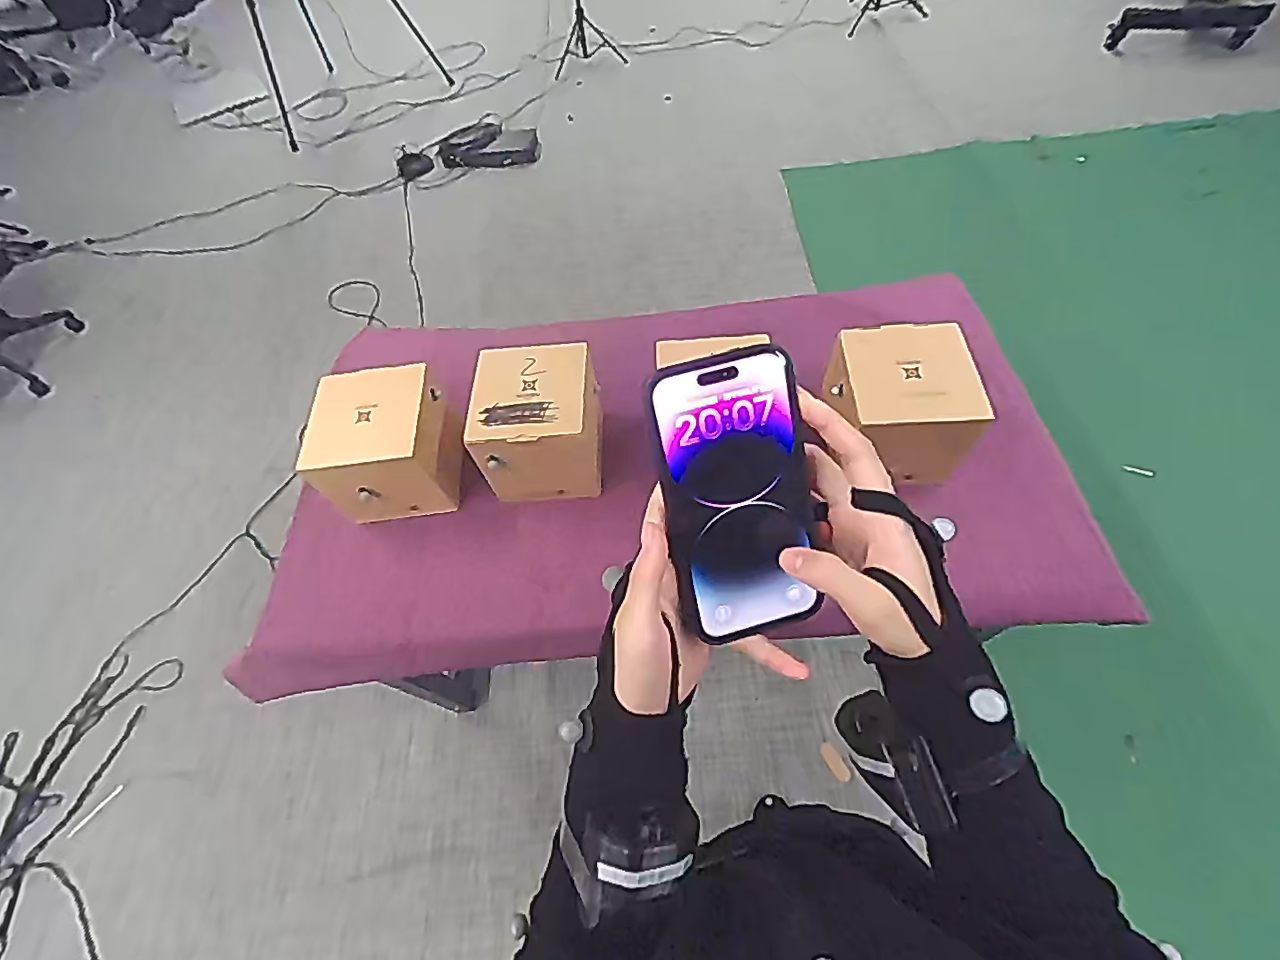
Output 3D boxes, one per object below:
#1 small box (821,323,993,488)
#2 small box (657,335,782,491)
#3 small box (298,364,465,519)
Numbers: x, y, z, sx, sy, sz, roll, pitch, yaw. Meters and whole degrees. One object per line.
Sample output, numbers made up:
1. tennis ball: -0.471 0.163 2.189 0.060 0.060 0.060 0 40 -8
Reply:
1. small box: 0.372 -0.105 0.795 0.168 0.176 0.179 -2 58 6
2. small box: 0.113 -0.092 0.814 0.168 0.176 0.179 -2 58 4
3. small box: -0.386 -0.050 0.843 0.168 0.176 0.179 -8 57 1
